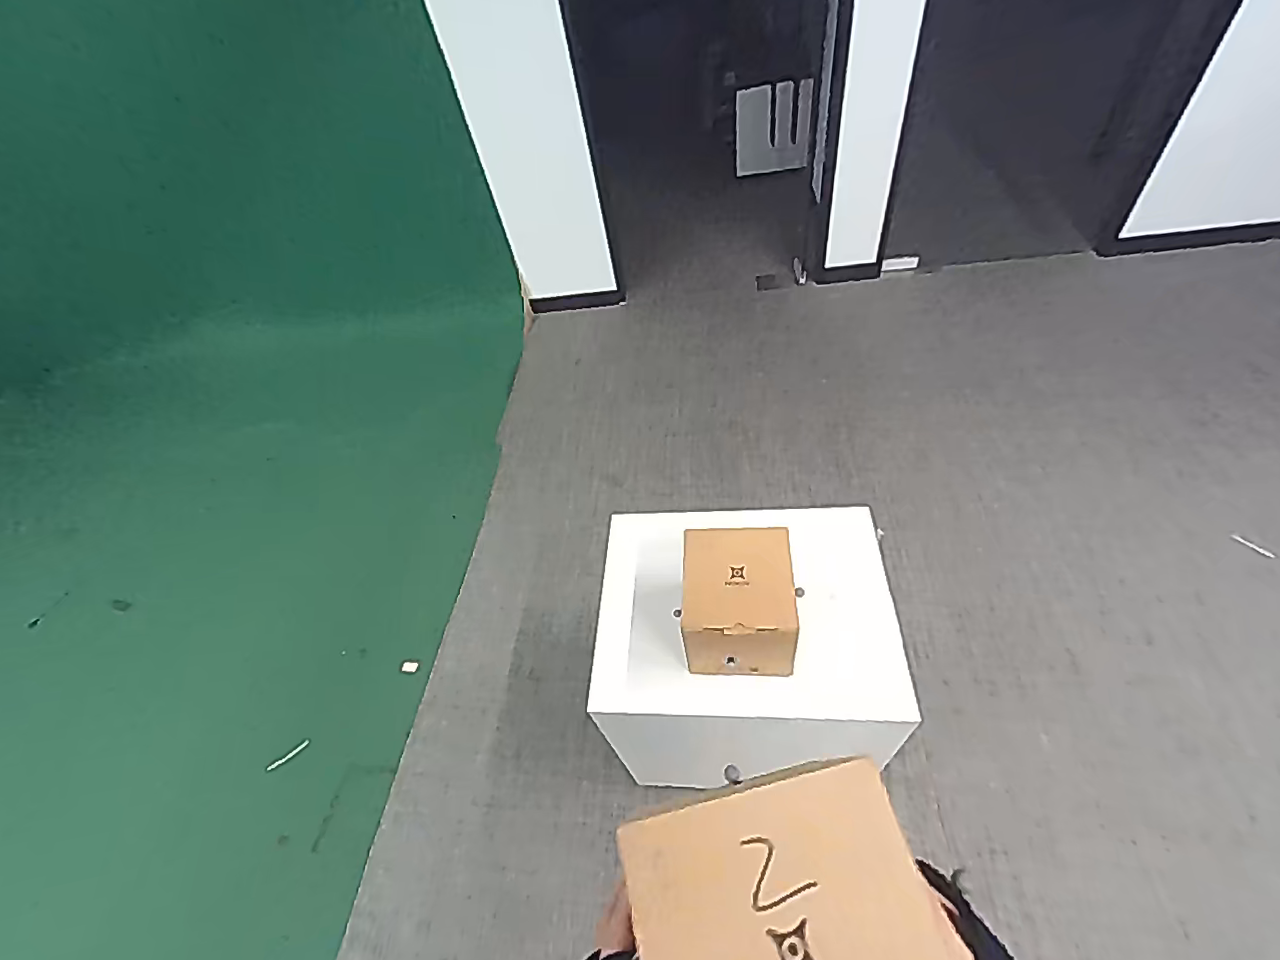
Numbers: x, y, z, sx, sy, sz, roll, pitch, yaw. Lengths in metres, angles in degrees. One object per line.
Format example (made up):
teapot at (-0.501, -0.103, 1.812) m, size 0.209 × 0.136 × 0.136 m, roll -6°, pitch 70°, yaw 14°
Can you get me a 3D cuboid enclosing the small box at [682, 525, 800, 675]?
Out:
small box at (0.156, 0.190, 0.860) m, size 0.168 × 0.176 × 0.179 m, roll -2°, pitch 49°, yaw 9°
